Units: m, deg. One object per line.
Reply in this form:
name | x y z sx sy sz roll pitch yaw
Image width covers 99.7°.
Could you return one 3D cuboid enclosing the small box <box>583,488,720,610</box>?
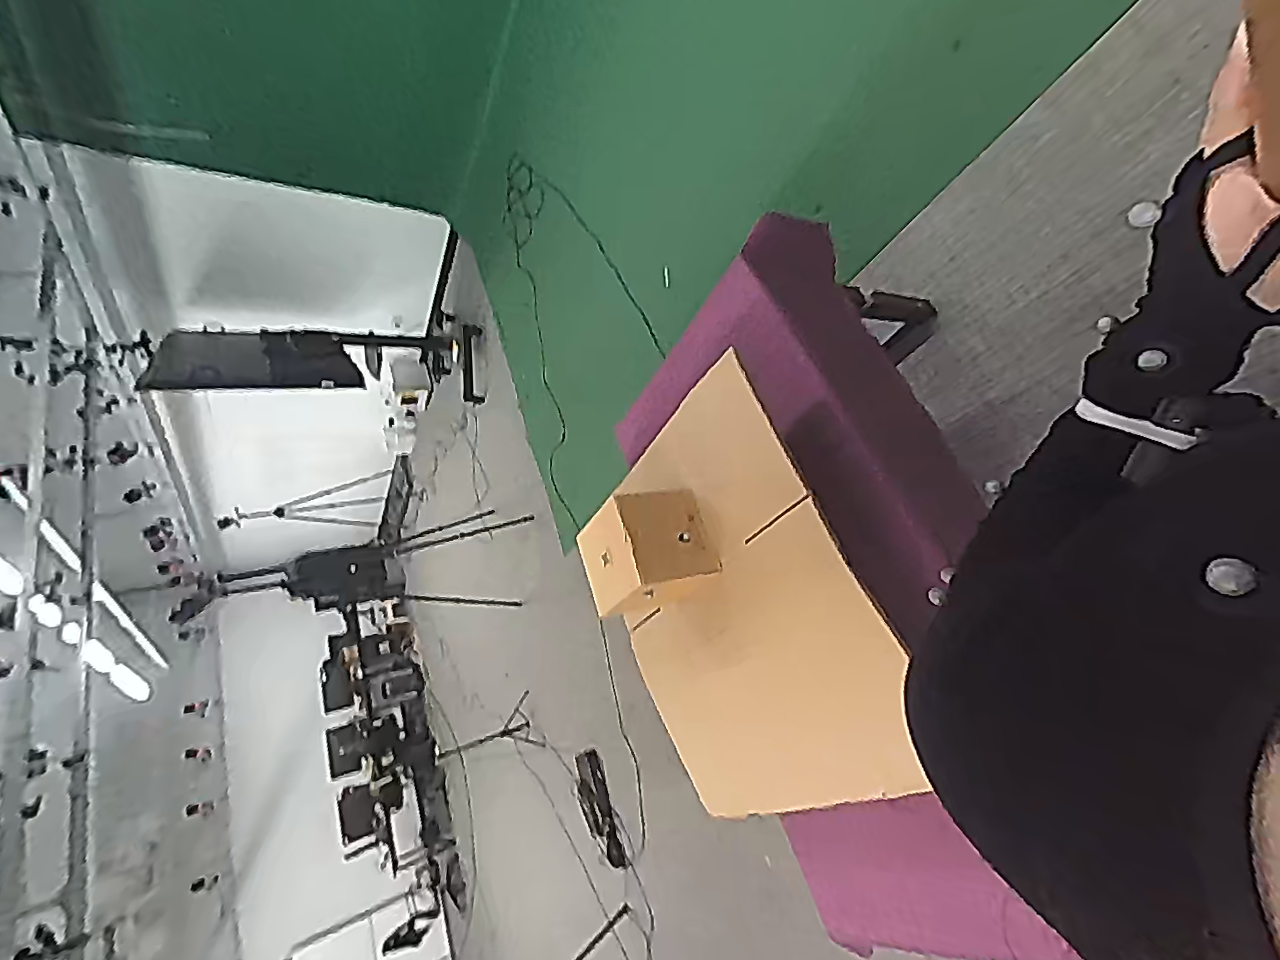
small box | 0.019 0.126 1.004 0.179 0.176 0.168 -48 54 47
